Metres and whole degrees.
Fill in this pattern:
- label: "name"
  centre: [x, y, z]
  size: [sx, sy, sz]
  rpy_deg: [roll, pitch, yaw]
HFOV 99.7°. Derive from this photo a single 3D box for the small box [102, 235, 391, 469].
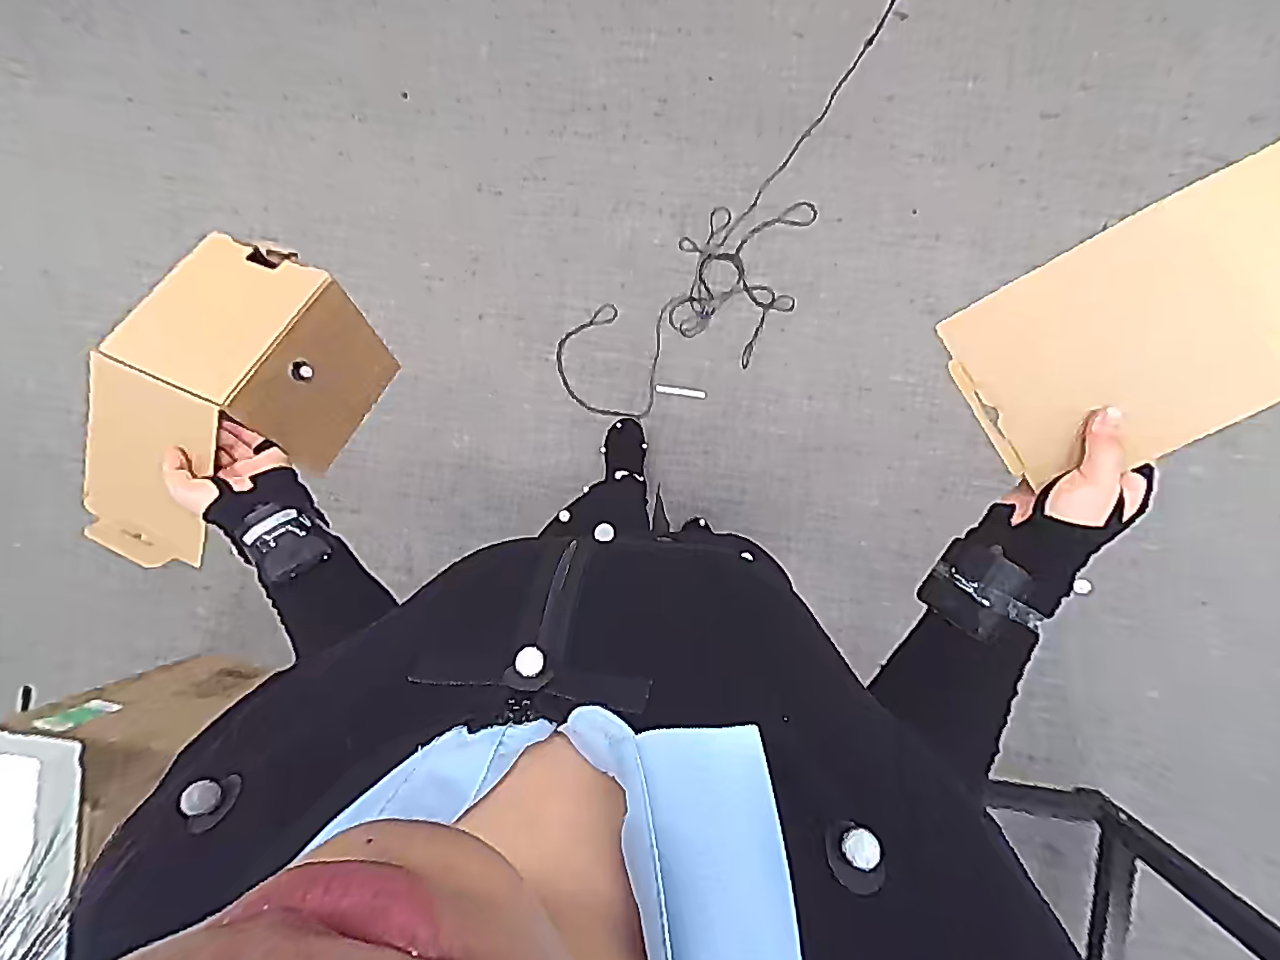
- label: "small box"
  centre: [-0.427, -0.138, 0.626]
  size: [0.168, 0.176, 0.179]
  rpy_deg: [21, 68, 11]
